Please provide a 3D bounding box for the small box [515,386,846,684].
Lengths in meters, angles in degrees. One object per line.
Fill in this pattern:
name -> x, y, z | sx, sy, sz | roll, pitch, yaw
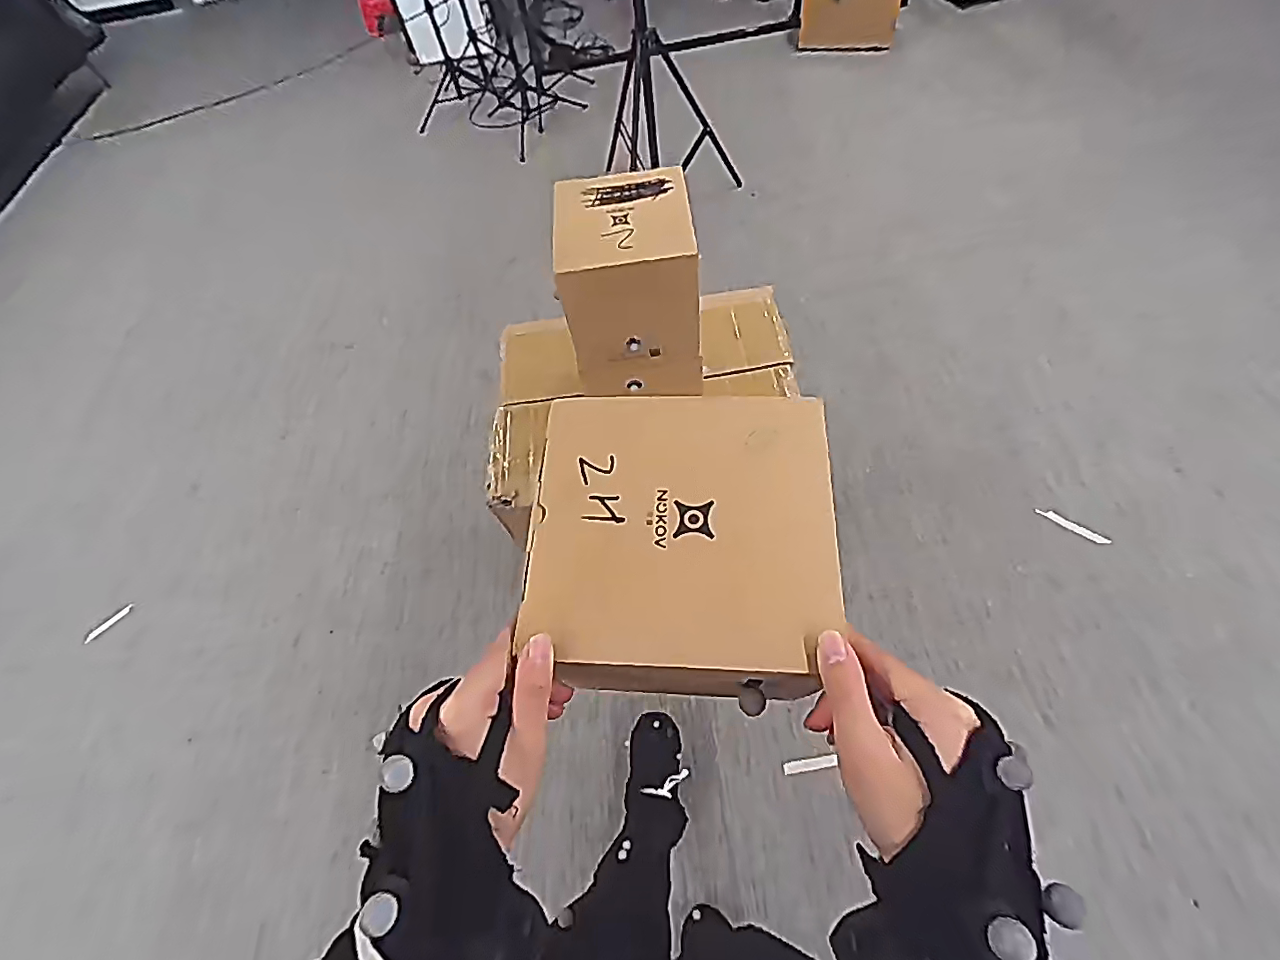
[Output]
small box -> 0.031, 0.049, 0.387 | 0.179, 0.176, 0.168 | 0, 64, 7

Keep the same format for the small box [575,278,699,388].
small box -> 0.000, -0.187, 0.855 | 0.179, 0.176, 0.168 | -7, 59, 3
